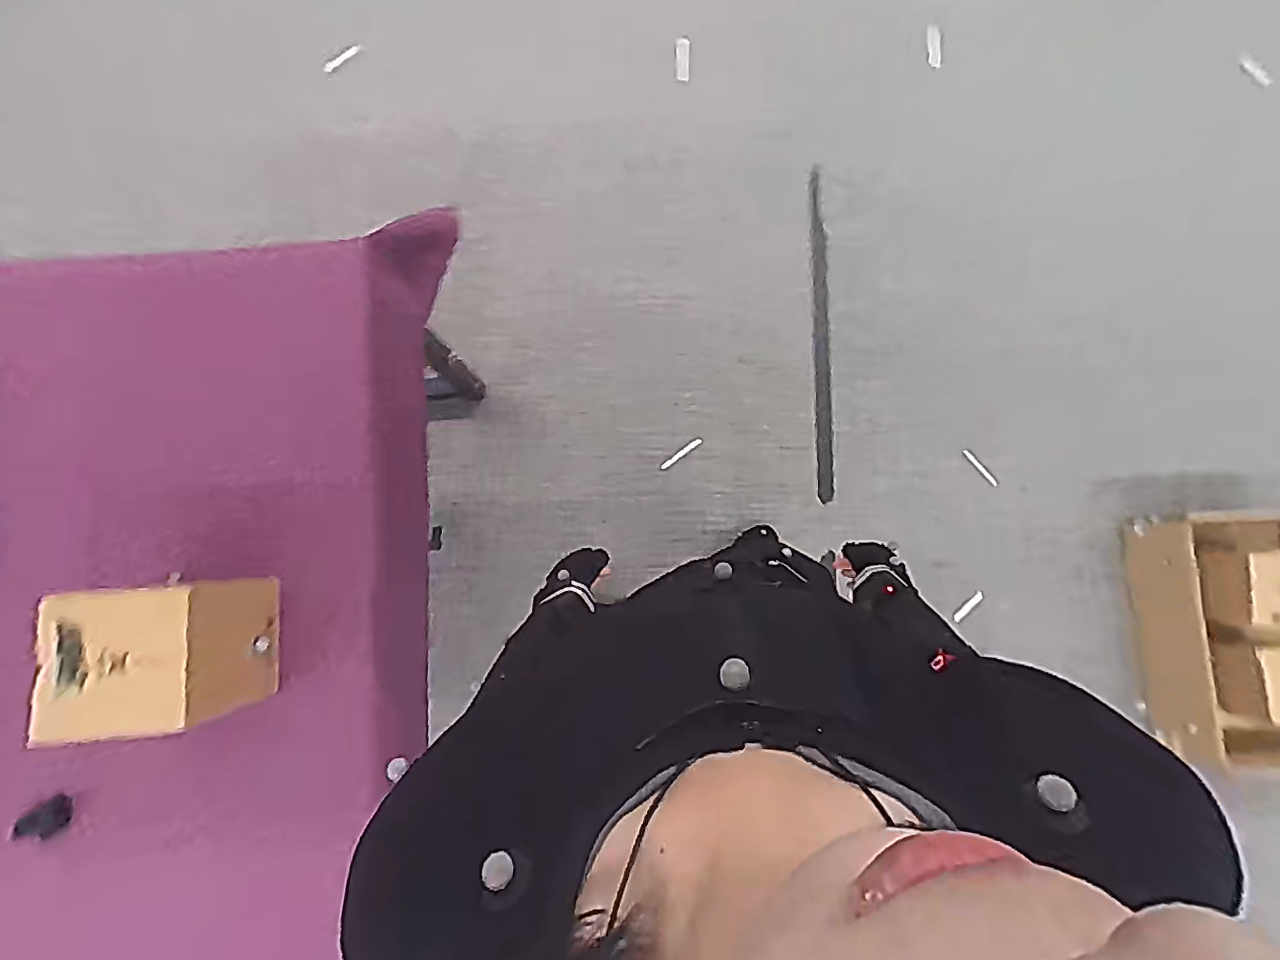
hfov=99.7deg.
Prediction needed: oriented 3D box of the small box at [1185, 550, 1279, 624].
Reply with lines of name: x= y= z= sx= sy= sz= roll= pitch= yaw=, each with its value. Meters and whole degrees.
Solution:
small box: x=1.550 y=0.270 z=1.374 sx=0.168 sy=0.176 sz=0.179 roll=2 pitch=83 yaw=2

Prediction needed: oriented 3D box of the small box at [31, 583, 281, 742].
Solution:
small box: x=-0.613 y=0.226 z=0.707 sx=0.179 sy=0.176 sz=0.168 roll=-4 pitch=82 yaw=-1

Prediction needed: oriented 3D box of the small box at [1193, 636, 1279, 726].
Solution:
small box: x=1.554 y=0.493 z=1.347 sx=0.168 sy=0.176 sz=0.179 roll=-5 pitch=80 yaw=-1
